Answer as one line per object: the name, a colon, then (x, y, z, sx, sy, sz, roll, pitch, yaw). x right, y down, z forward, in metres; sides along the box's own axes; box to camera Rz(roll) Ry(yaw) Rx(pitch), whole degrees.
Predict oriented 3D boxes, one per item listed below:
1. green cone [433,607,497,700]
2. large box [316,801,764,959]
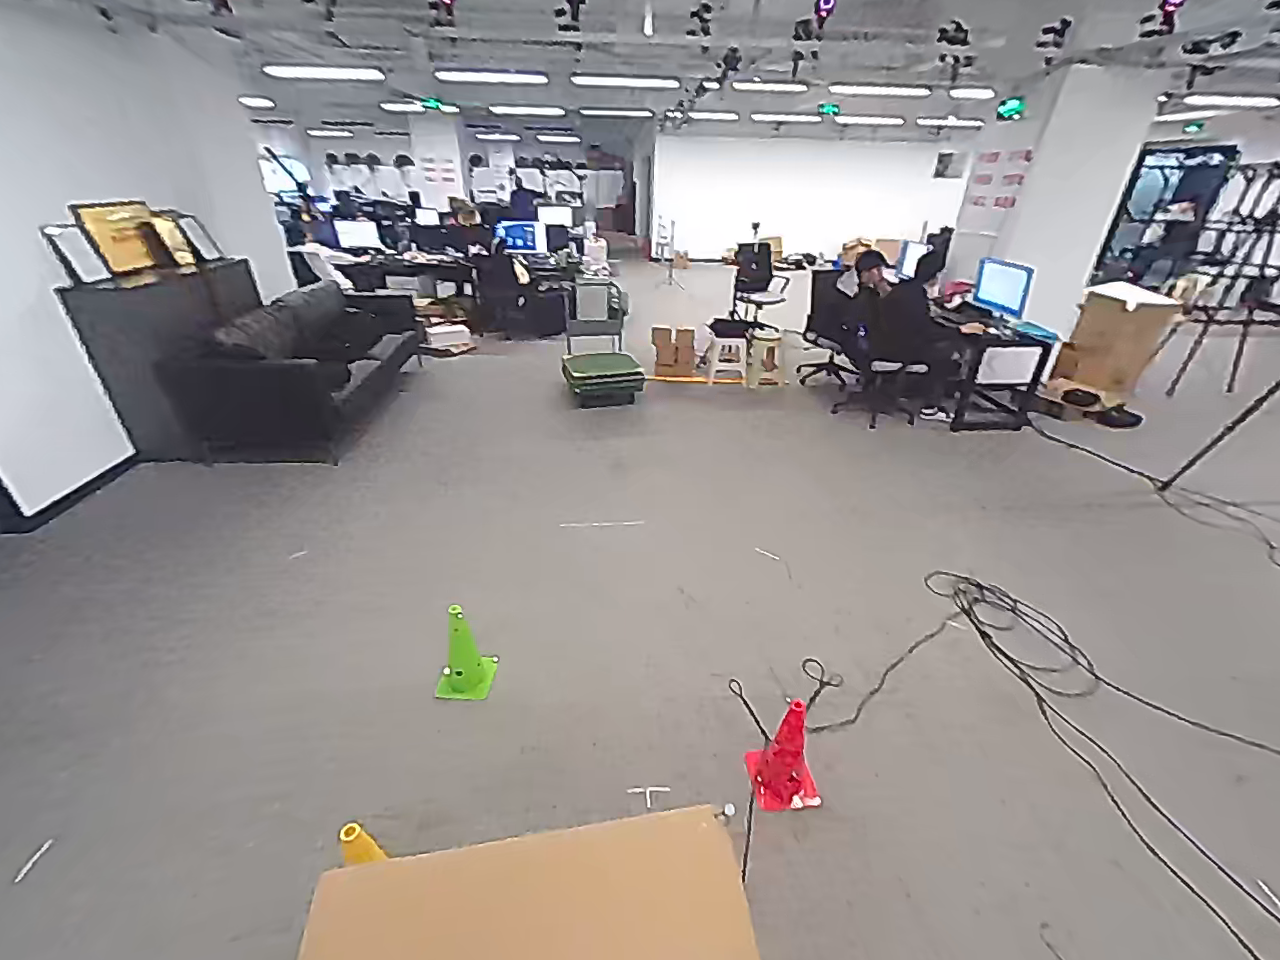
green cone: (-0.673, 0.616, 2.008, 0.200, 0.368, 0.202, 2, 30, 2)
large box: (-0.085, 0.580, 0.539, 0.408, 0.320, 0.320, -4, 40, -9)
